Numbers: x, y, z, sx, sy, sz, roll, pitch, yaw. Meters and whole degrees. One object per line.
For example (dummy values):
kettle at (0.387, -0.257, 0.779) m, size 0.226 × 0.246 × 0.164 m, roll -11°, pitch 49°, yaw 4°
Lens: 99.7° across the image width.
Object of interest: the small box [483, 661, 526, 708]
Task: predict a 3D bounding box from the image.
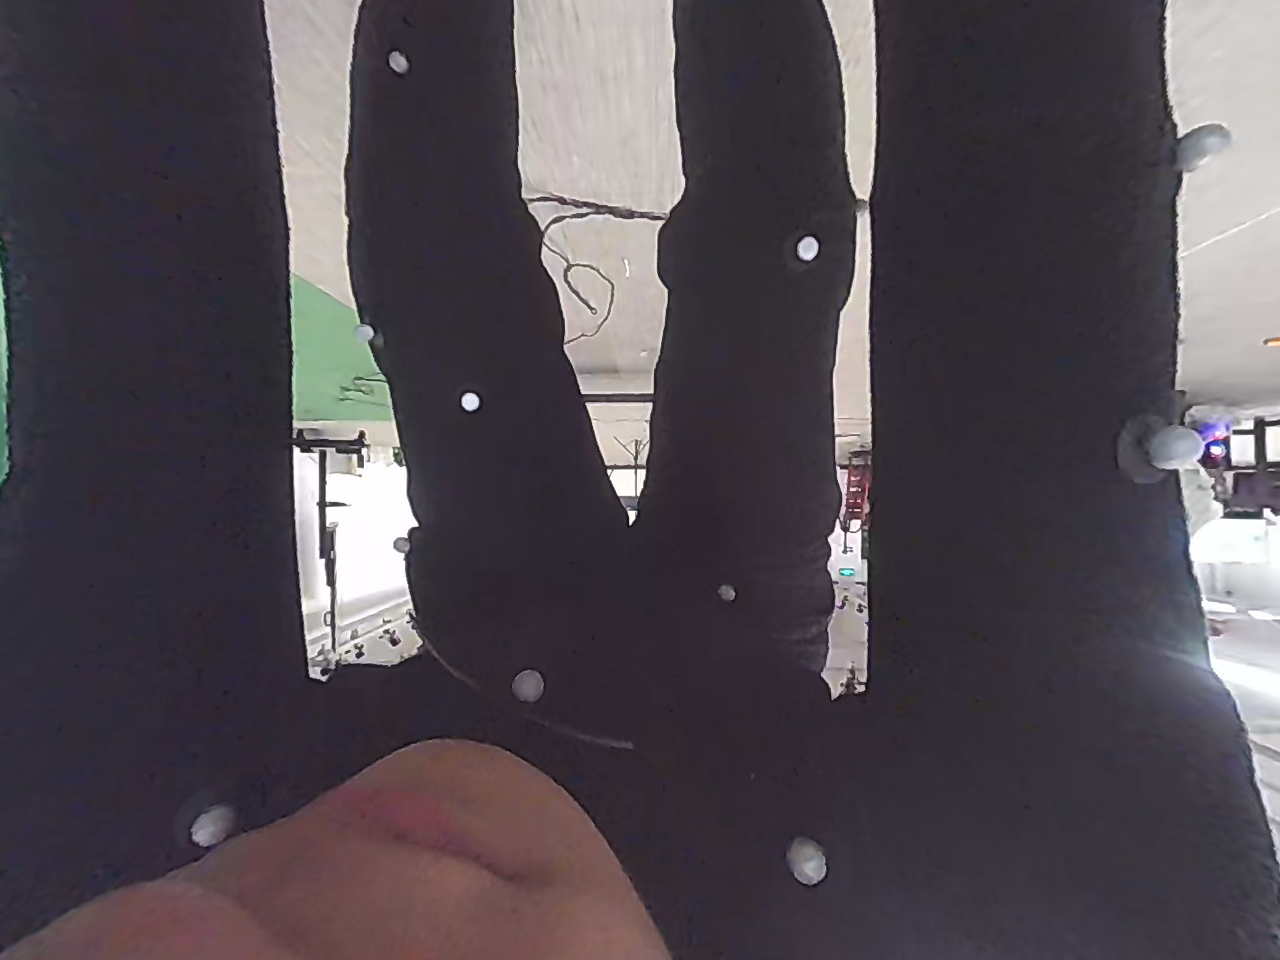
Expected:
small box at (-0.642, 0.970, 2.573) m, size 0.168 × 0.176 × 0.179 m, roll 0°, pitch 177°, yaw 1°
